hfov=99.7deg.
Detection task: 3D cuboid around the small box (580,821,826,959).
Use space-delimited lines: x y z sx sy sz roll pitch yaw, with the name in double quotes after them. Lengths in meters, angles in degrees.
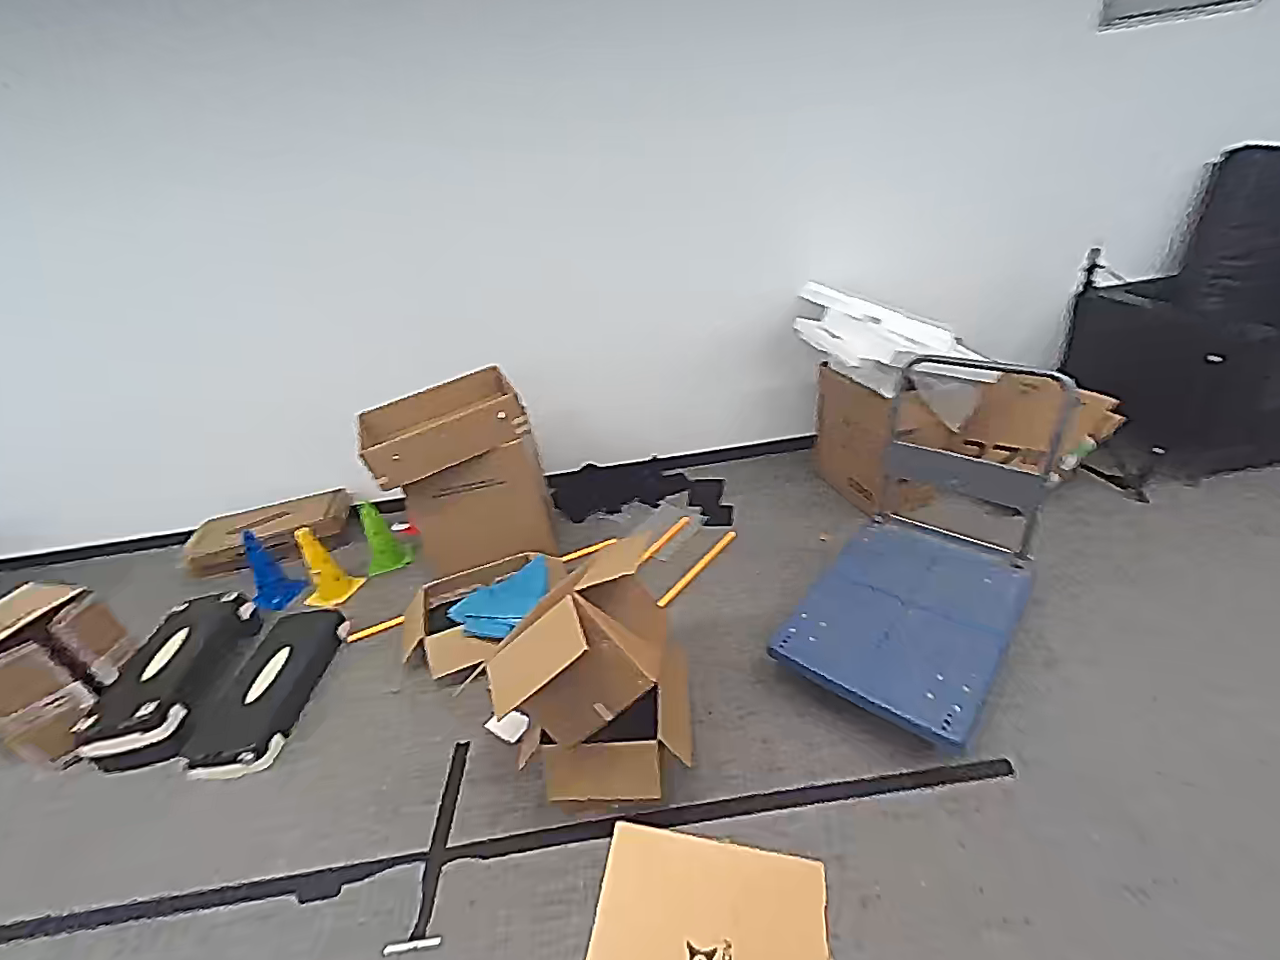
0.049 0.410 0.430 0.179 0.176 0.168 4 35 11 "small box"
